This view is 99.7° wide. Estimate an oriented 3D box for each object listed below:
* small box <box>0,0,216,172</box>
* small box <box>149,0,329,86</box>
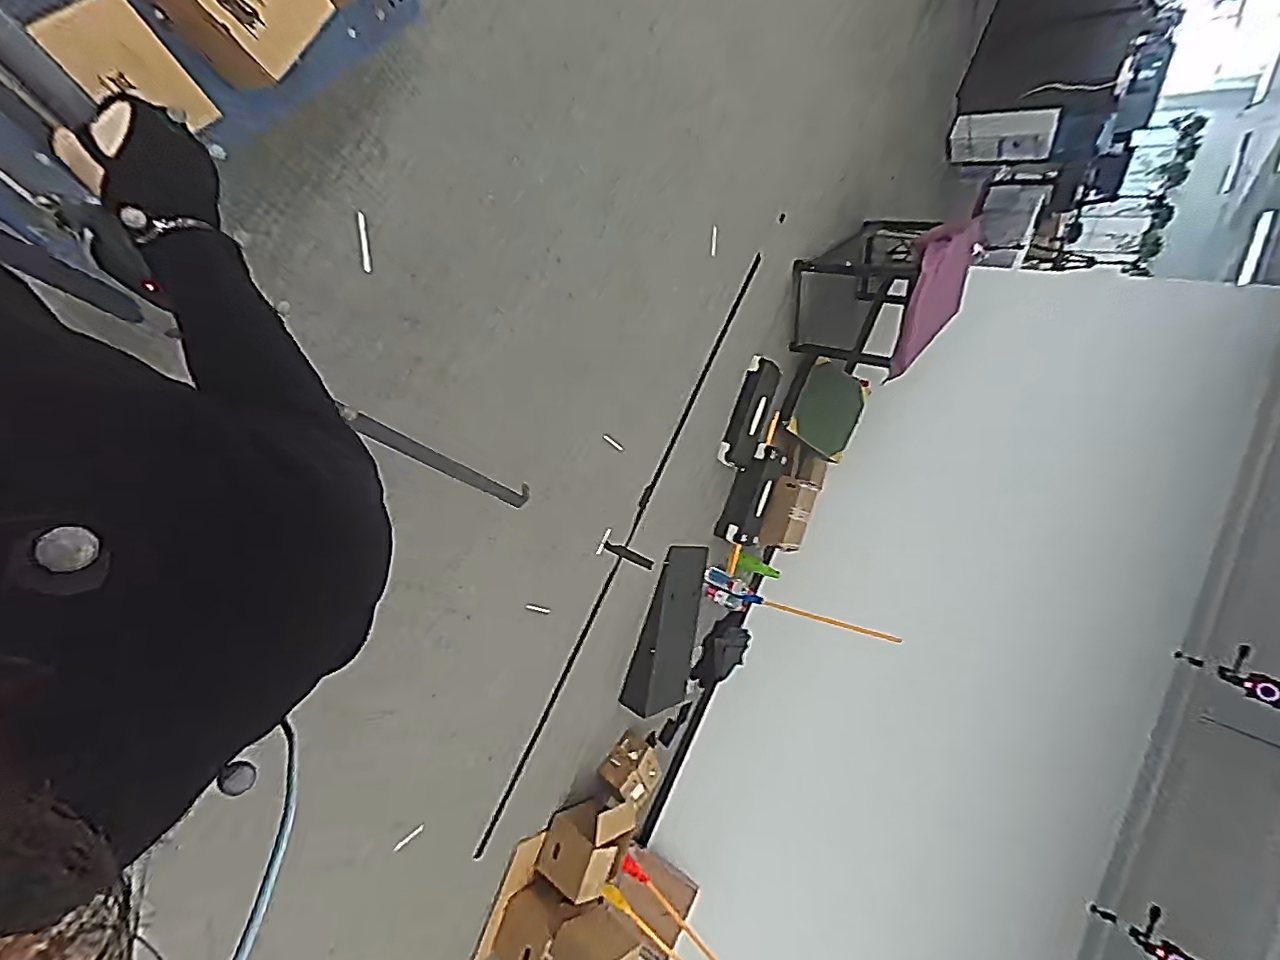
[{"bbox_3d":[-0.798,-0.581,0.803,0.179,0.176,0.168,-55,145,-21],"label":"small box"},{"bbox_3d":[-0.662,-0.785,0.882,0.179,0.176,0.168,-63,146,-11],"label":"small box"}]
